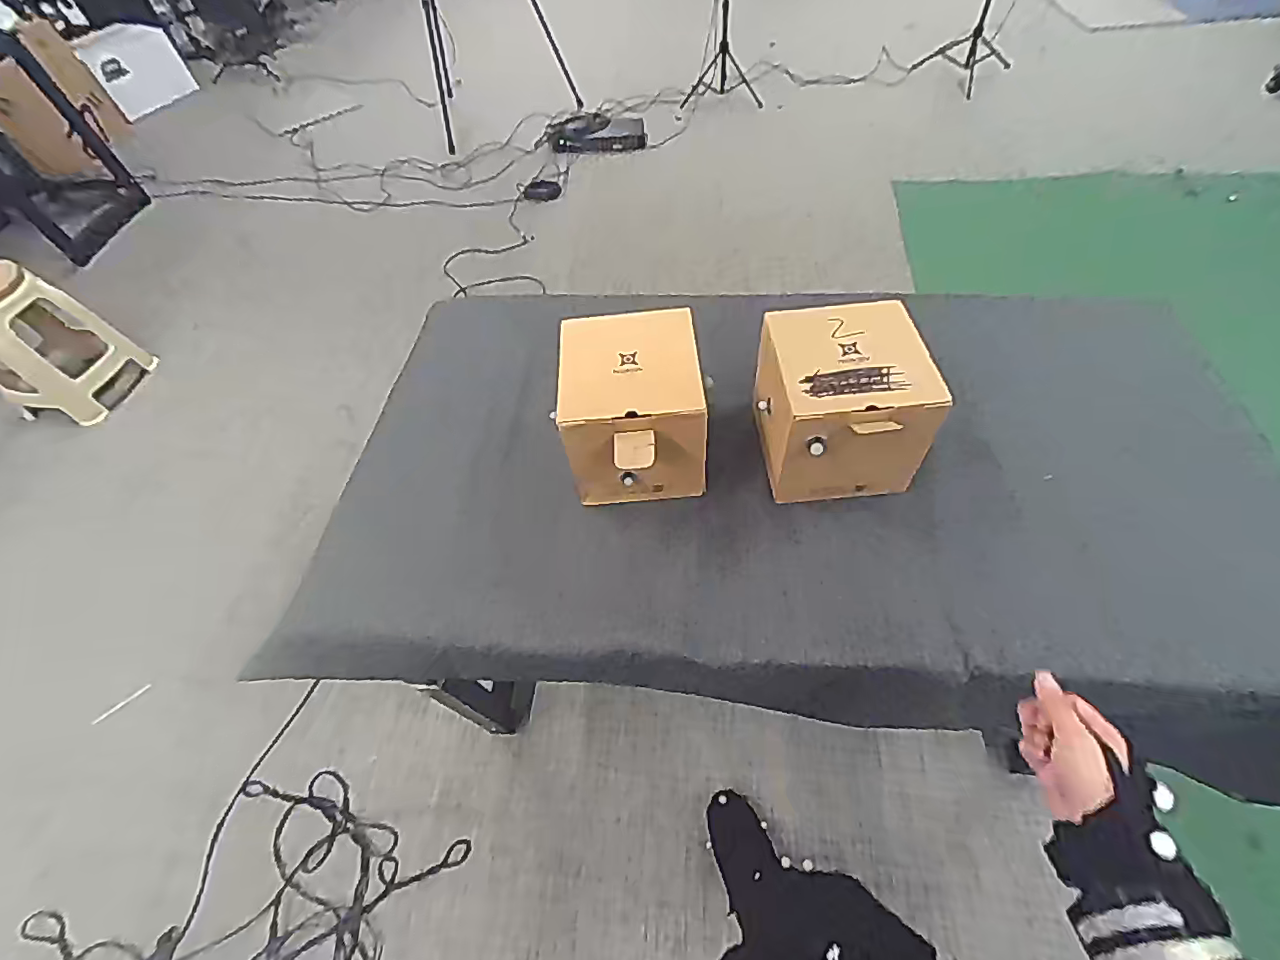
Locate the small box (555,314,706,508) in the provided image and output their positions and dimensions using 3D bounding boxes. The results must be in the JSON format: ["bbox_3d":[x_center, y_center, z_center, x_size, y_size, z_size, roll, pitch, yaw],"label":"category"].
[{"bbox_3d":[-0.010,-0.084,0.692,0.168,0.176,0.179,-6,55,1],"label":"small box"}]
